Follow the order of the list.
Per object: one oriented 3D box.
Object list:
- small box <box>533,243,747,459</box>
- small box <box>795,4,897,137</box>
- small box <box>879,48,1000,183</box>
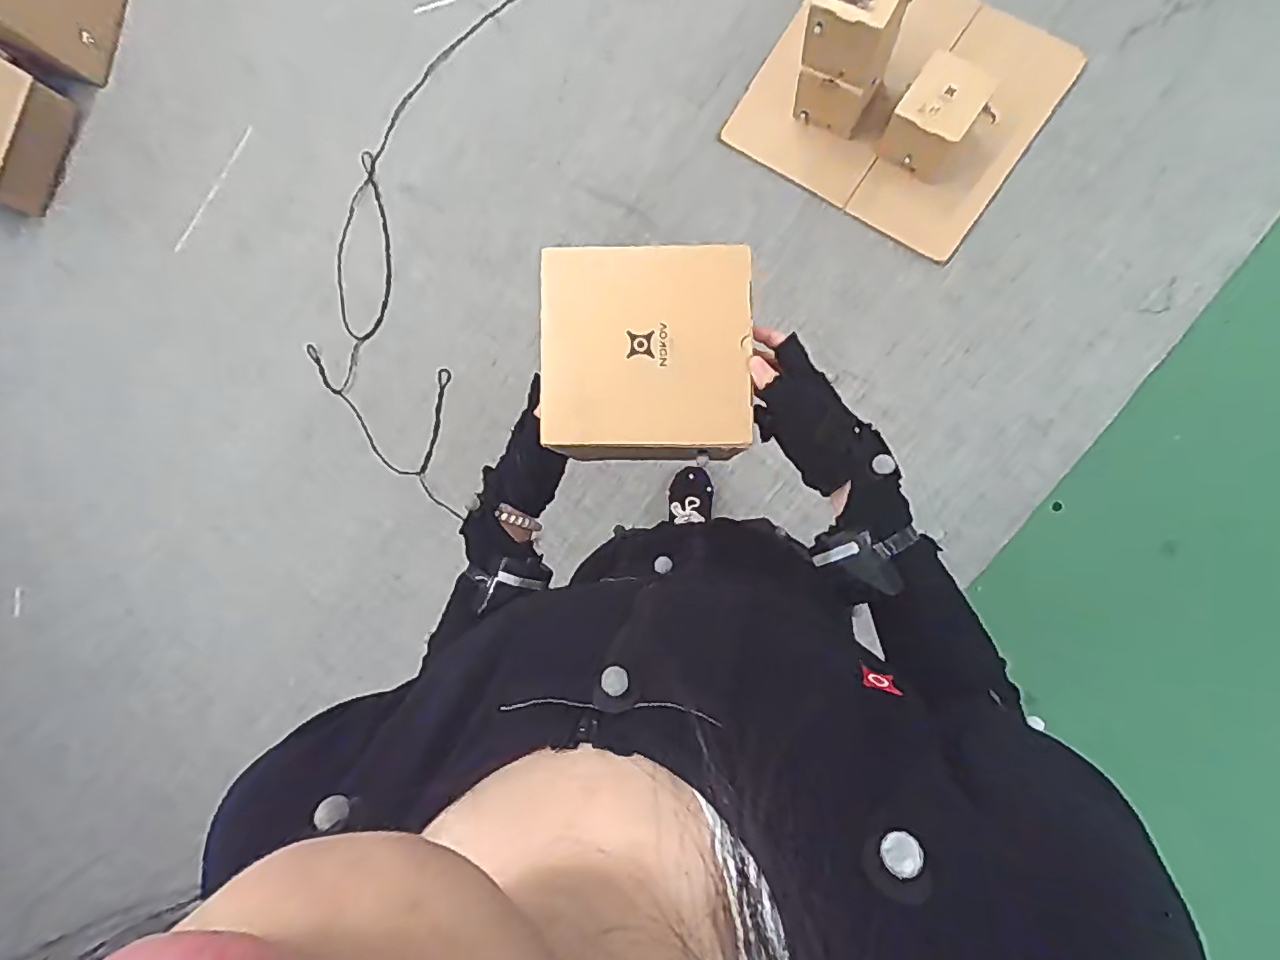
[{"bbox_3d":[0.003,-0.108,0.519,0.179,0.176,0.168,0,88,1],"label":"small box"},{"bbox_3d":[0.500,-1.005,1.344,0.168,0.176,0.179,30,94,9],"label":"small box"},{"bbox_3d":[0.710,-0.871,1.307,0.168,0.176,0.179,35,95,10],"label":"small box"}]
